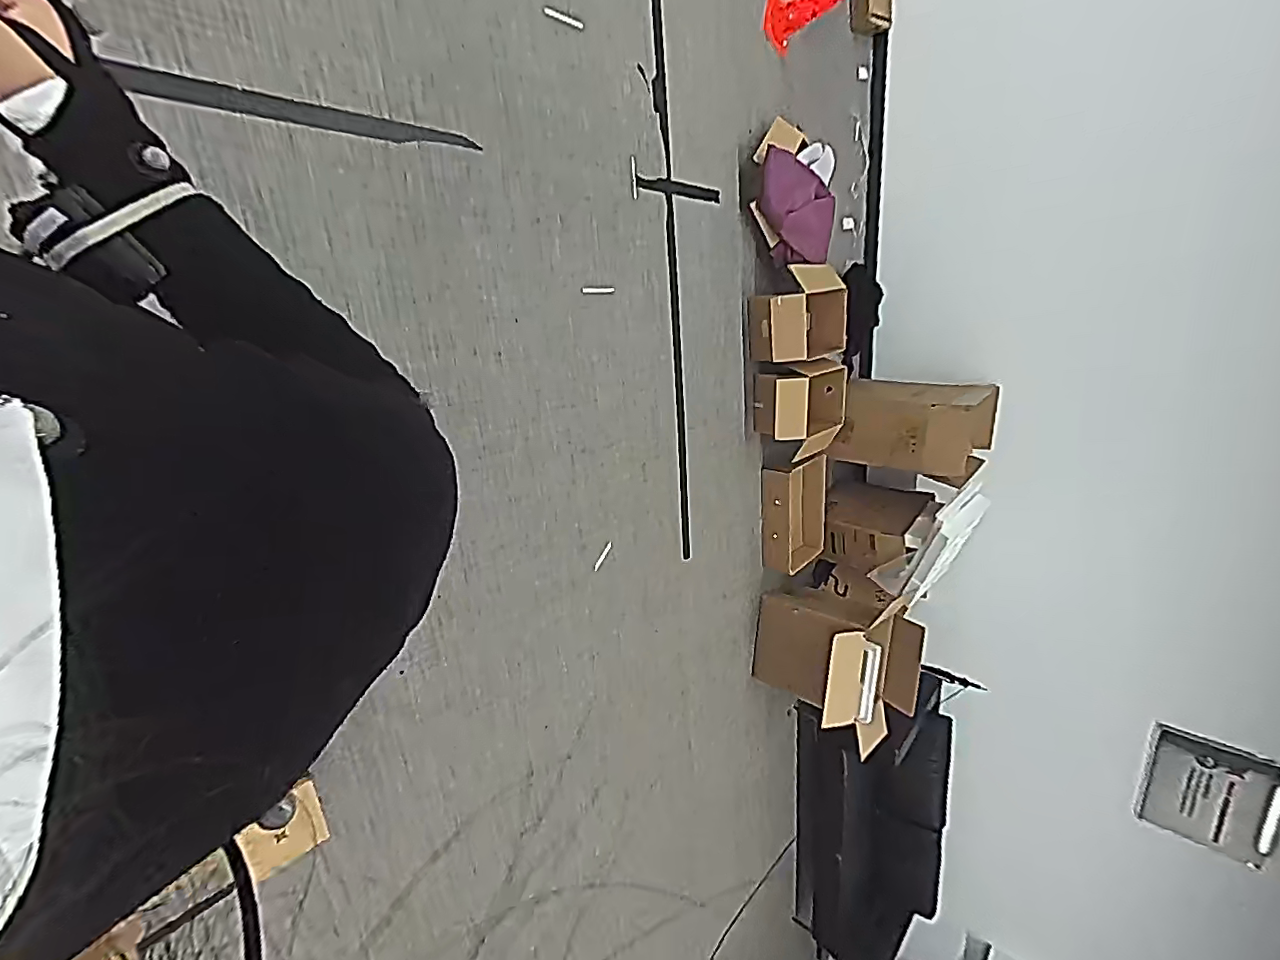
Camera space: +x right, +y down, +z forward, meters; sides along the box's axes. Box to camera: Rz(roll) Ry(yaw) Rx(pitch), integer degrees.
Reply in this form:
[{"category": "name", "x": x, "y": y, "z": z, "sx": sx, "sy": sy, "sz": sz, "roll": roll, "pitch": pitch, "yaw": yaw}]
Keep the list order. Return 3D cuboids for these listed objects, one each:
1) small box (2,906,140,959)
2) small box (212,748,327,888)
[{"category": "small box", "x": -0.968, "y": 0.881, "z": 0.907, "sx": 0.168, "sy": 0.176, "sz": 0.179, "roll": -27, "pitch": 118, "yaw": -42}, {"category": "small box", "x": -0.851, "y": 0.765, "z": 1.244, "sx": 0.168, "sy": 0.176, "sz": 0.179, "roll": -21, "pitch": 114, "yaw": -42}]
